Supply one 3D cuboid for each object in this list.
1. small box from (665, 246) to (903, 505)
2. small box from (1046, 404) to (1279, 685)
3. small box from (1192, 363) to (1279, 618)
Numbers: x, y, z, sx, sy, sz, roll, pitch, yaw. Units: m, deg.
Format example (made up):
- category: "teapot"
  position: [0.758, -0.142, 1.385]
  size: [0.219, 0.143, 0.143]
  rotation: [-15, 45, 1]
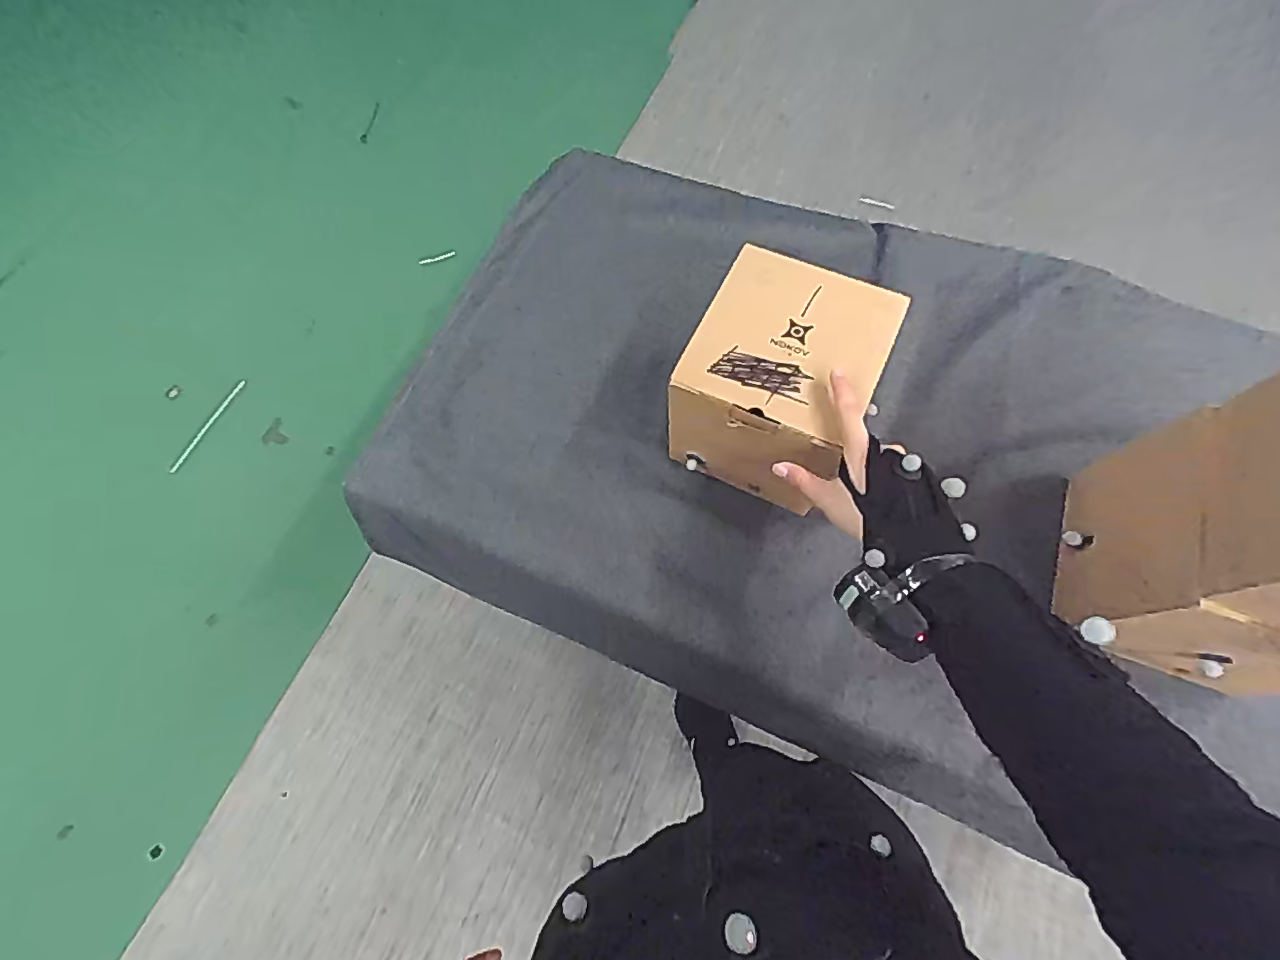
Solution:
- category: "small box"
  position: [0.138, -0.097, 0.563]
  size: [0.168, 0.176, 0.179]
  rotation: [25, 71, 12]
- category: "small box"
  position: [0.498, 0.067, 0.474]
  size: [0.168, 0.176, 0.179]
  rotation: [19, 72, 11]
- category: "small box"
  position: [0.493, 0.008, 0.321]
  size: [0.168, 0.176, 0.179]
  rotation: [22, 70, 11]
